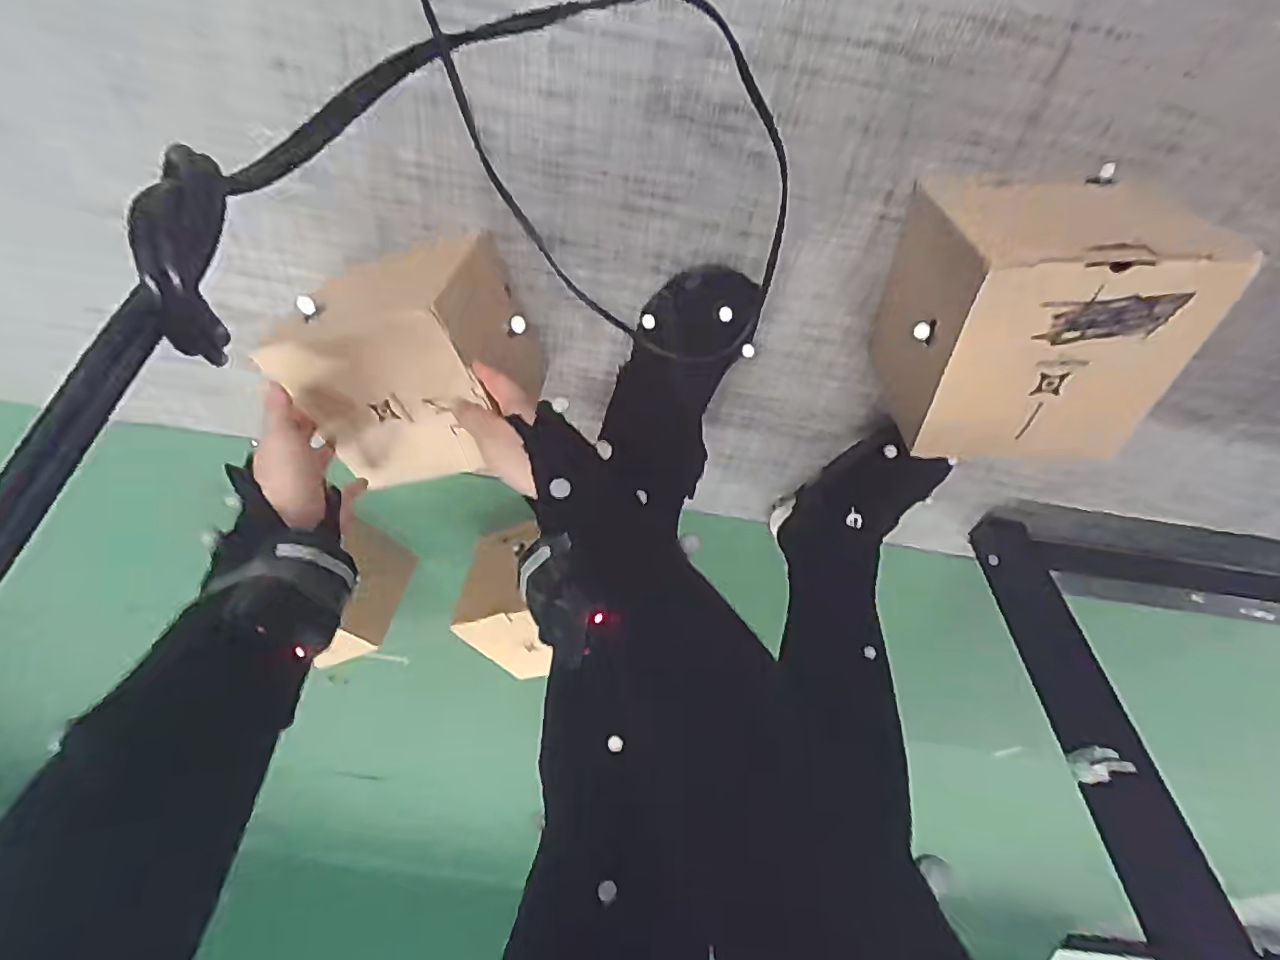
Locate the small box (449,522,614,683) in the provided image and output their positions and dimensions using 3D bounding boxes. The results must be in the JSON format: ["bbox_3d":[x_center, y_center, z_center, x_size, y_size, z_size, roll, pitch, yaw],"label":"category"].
[{"bbox_3d":[-0.154,0.192,0.841,0.168,0.176,0.179,-17,130,22],"label":"small box"}]

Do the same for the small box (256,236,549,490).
[{"bbox_3d":[-0.211,-0.115,0.537,0.179,0.176,0.168,-9,133,14],"label":"small box"}]
